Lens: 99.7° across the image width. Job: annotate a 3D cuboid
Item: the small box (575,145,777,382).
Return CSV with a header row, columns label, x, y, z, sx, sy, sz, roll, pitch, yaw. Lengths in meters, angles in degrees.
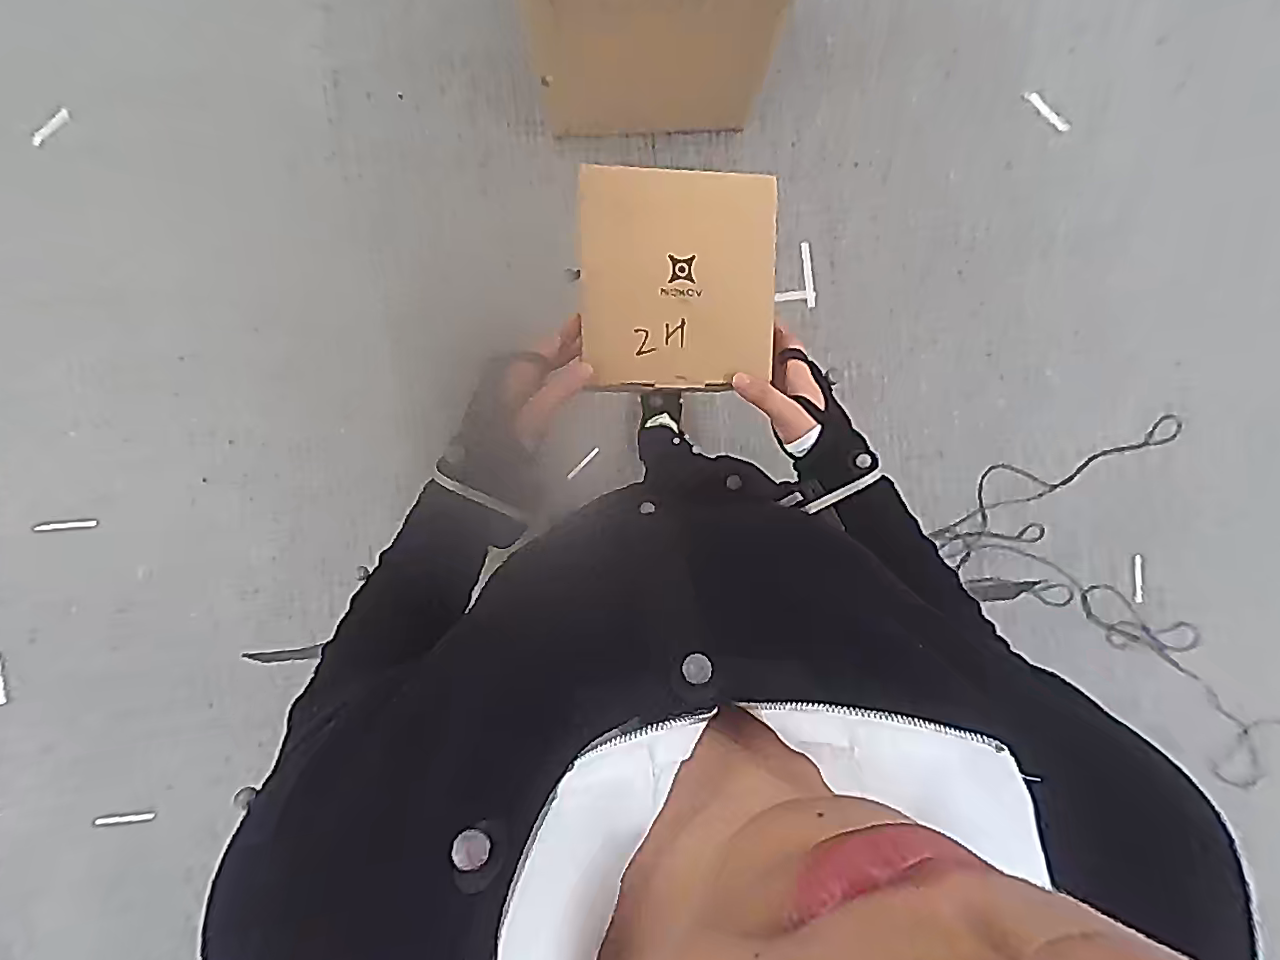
label,x,y,z,sx,sy,sz,roll,pitch,yaw
small box,0.023,-0.191,0.529,0.168,0.176,0.179,-1,97,-8
